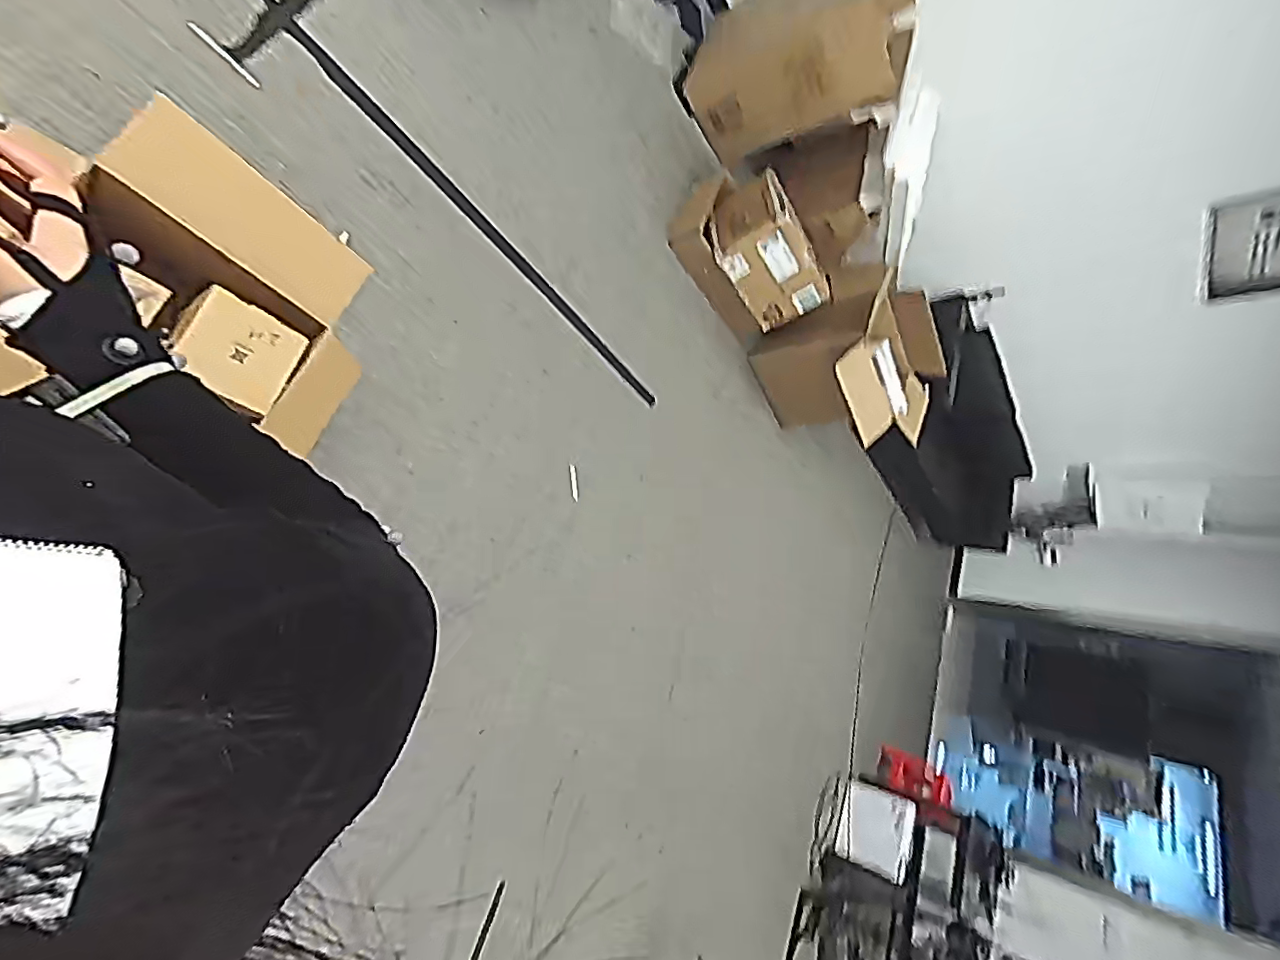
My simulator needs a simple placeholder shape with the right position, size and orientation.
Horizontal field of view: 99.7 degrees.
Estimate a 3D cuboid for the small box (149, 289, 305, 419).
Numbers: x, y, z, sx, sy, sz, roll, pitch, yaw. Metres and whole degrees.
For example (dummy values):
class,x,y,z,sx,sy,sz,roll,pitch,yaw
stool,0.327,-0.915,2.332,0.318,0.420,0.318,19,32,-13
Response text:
class,x,y,z,sx,sy,sz,roll,pitch,yaw
small box,-0.786,-0.227,1.027,0.168,0.176,0.179,36,65,-45
